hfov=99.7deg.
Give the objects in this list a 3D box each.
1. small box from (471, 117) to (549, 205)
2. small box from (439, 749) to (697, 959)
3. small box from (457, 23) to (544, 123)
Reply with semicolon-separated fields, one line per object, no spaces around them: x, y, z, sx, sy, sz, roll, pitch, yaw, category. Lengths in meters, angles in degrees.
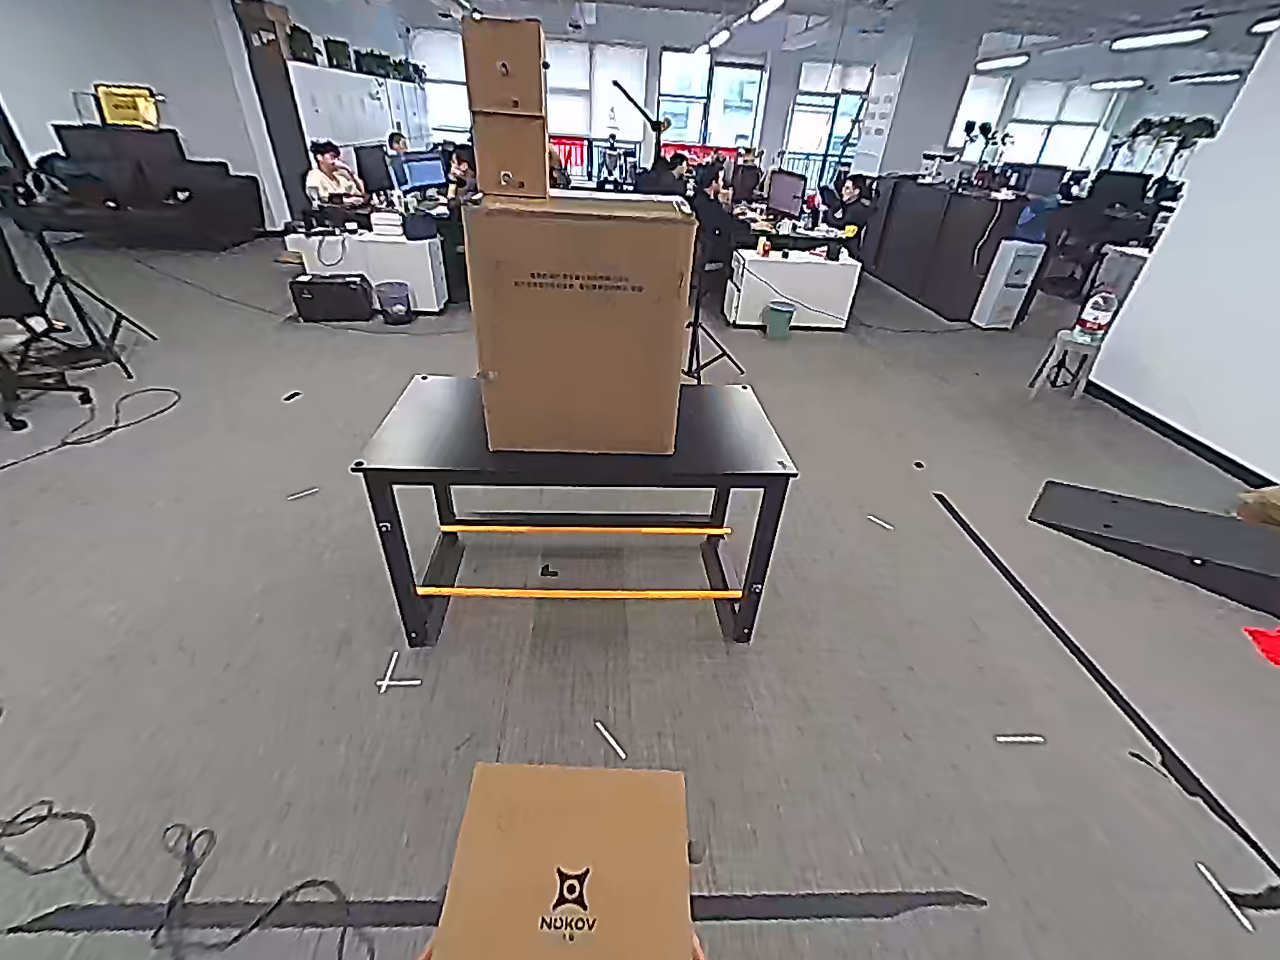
-0.314;-0.786;1.331;0.168;0.176;0.179;-2;34;-7;small box
-0.049;0.337;0.422;0.168;0.176;0.179;3;42;-2;small box
-0.307;-0.915;1.229;0.168;0.176;0.179;-1;33;-6;small box
